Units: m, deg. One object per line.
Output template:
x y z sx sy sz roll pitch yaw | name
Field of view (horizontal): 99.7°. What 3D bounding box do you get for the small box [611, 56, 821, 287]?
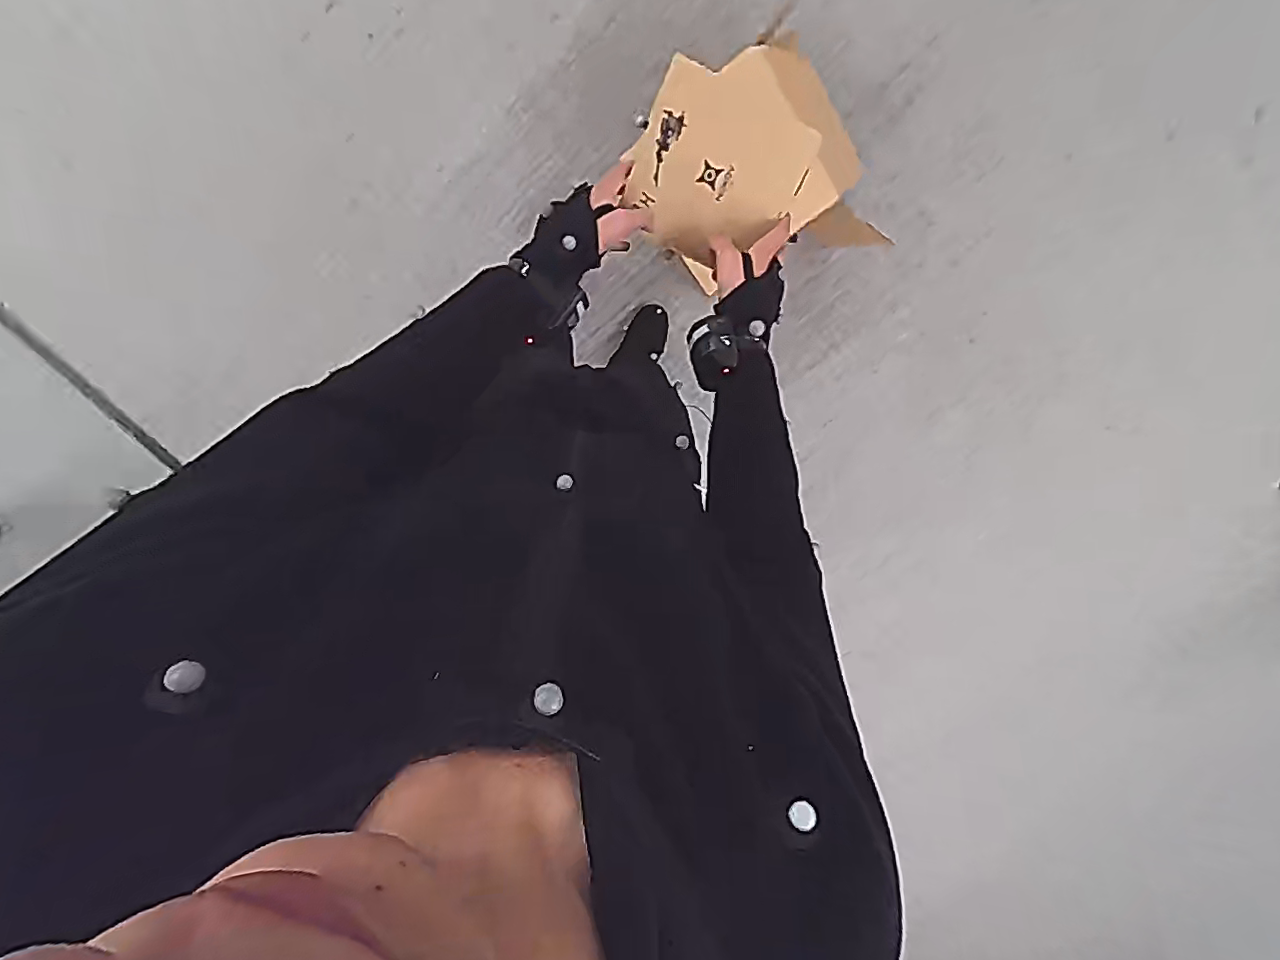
0.075 -0.356 0.644 0.179 0.176 0.168 20 115 -14 | small box
